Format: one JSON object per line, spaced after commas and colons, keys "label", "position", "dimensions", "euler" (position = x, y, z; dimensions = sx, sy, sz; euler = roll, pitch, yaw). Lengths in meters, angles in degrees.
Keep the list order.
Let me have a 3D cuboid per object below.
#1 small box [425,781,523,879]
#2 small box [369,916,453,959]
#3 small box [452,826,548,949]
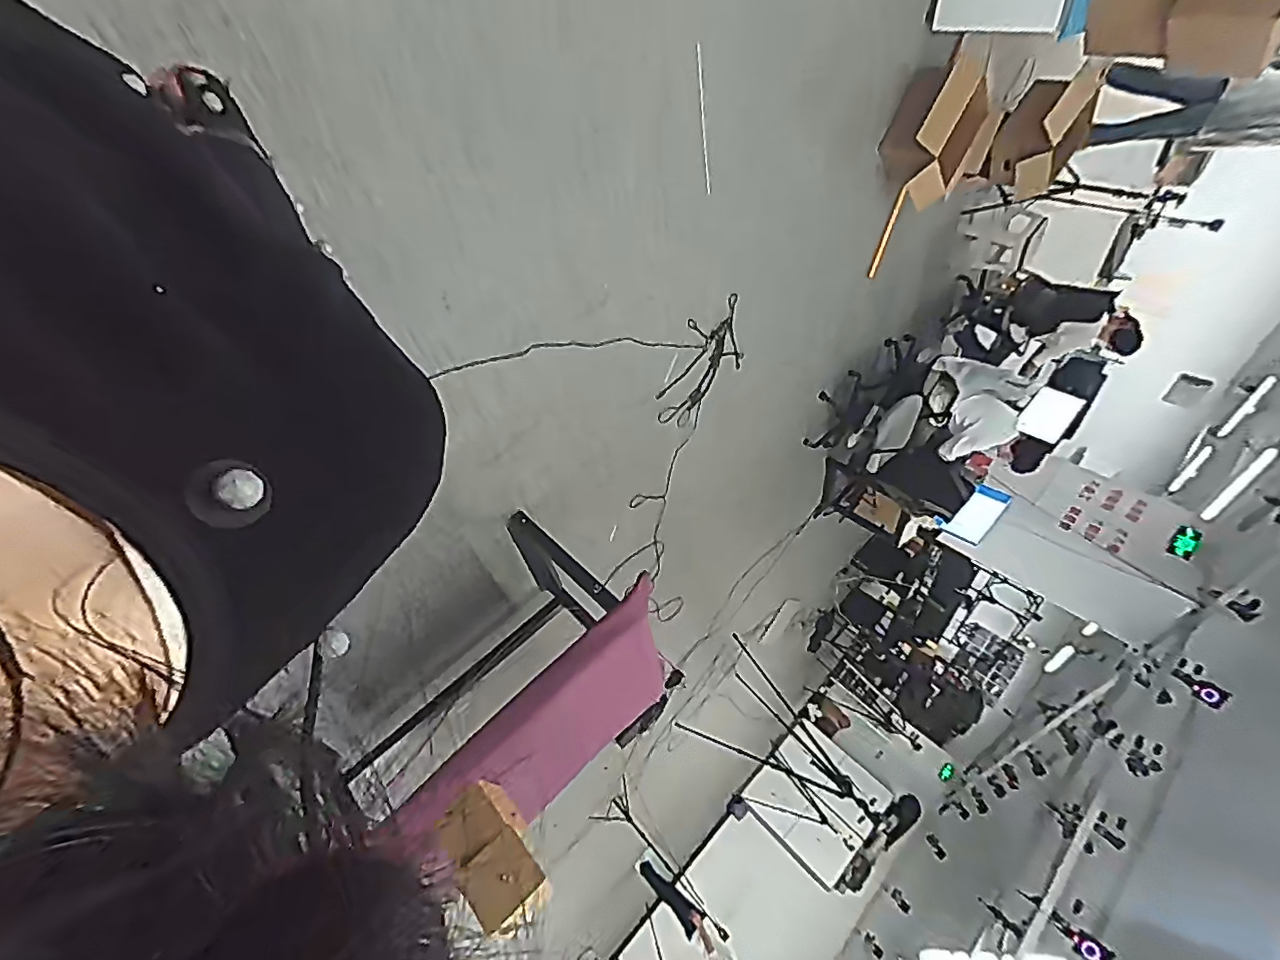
{"label": "small box", "position": [-0.467, 0.986, 1.525], "dimensions": [0.168, 0.176, 0.179], "euler": [-43, 145, -18]}
{"label": "small box", "position": [-0.562, 1.218, 1.312], "dimensions": [0.179, 0.176, 0.168], "euler": [-38, 143, -25]}
{"label": "small box", "position": [-0.369, 1.059, 1.412], "dimensions": [0.179, 0.176, 0.168], "euler": [-34, 142, -30]}
